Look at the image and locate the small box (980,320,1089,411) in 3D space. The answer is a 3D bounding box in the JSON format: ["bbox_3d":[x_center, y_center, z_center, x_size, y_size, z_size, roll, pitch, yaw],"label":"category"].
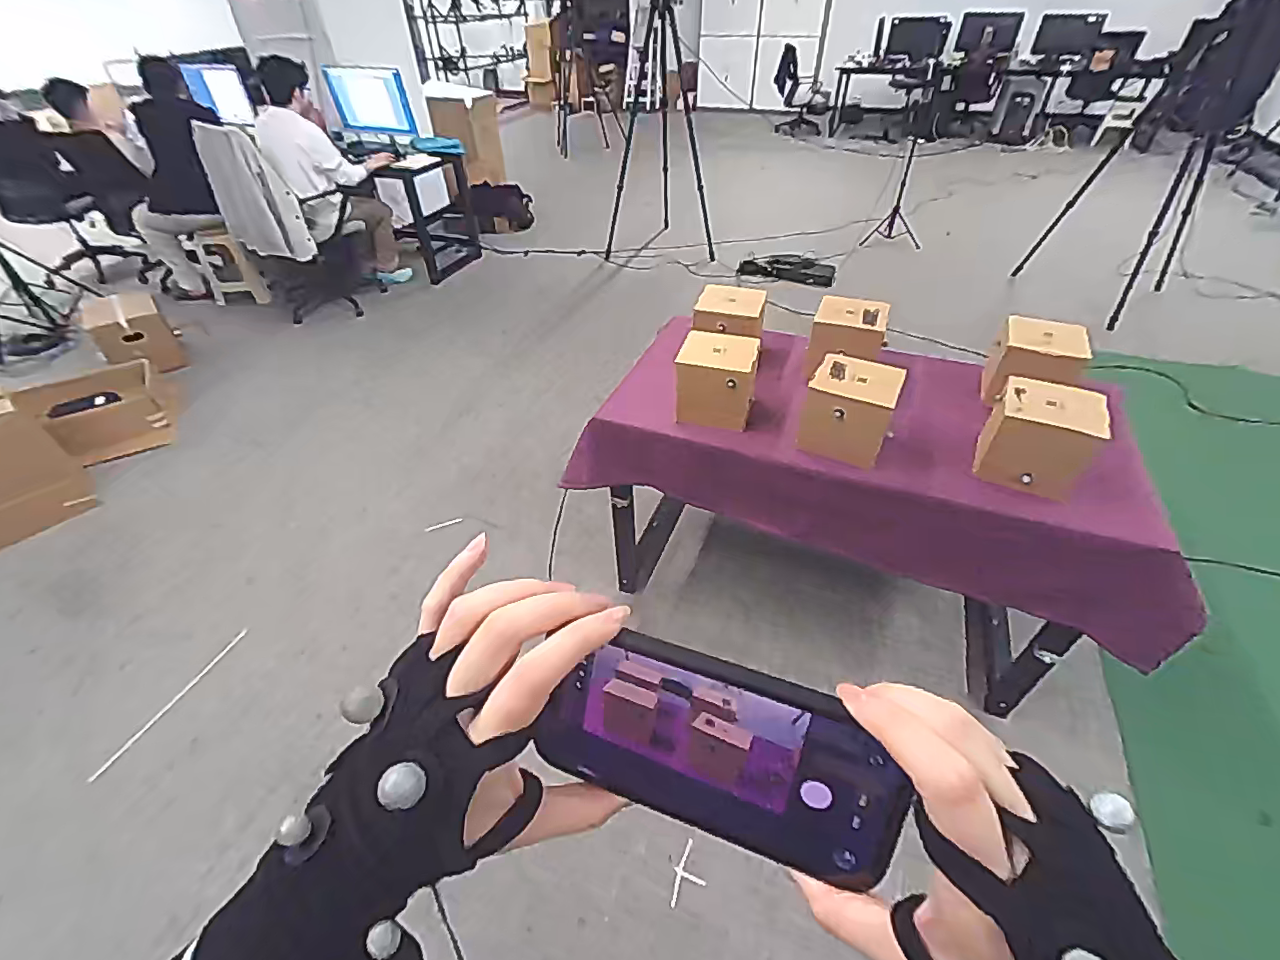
[{"bbox_3d":[0.962,-0.269,1.334,0.168,0.176,0.179,17,46,21],"label":"small box"}]

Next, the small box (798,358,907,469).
[{"bbox_3d":[0.471,-0.148,1.215,0.179,0.176,0.168,20,46,21],"label":"small box"}]

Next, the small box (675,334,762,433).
[{"bbox_3d":[0.188,-0.235,1.320,0.179,0.176,0.168,12,43,12],"label":"small box"}]

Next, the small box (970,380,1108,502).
[{"bbox_3d":[0.824,-0.078,1.126,0.179,0.176,0.168,21,46,22],"label":"small box"}]
